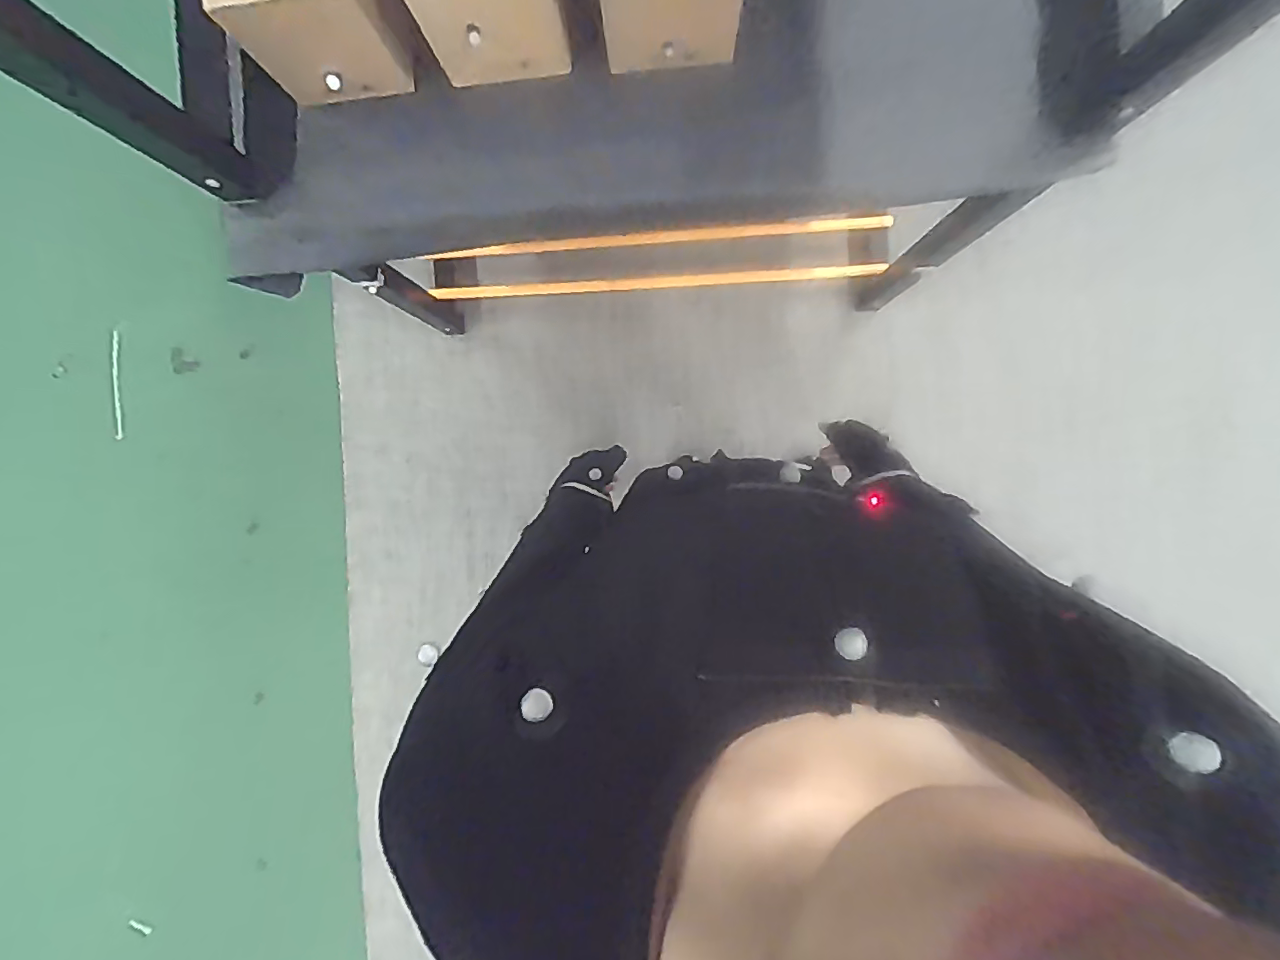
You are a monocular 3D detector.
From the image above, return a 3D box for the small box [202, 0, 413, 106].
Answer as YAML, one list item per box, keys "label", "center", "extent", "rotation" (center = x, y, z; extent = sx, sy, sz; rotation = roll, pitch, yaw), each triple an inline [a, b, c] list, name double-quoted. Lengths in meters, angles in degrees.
- label: "small box"
  center: [-0.403, -0.611, 0.670]
  extent: [0.168, 0.176, 0.179]
  rotation: [-5, 92, 4]
